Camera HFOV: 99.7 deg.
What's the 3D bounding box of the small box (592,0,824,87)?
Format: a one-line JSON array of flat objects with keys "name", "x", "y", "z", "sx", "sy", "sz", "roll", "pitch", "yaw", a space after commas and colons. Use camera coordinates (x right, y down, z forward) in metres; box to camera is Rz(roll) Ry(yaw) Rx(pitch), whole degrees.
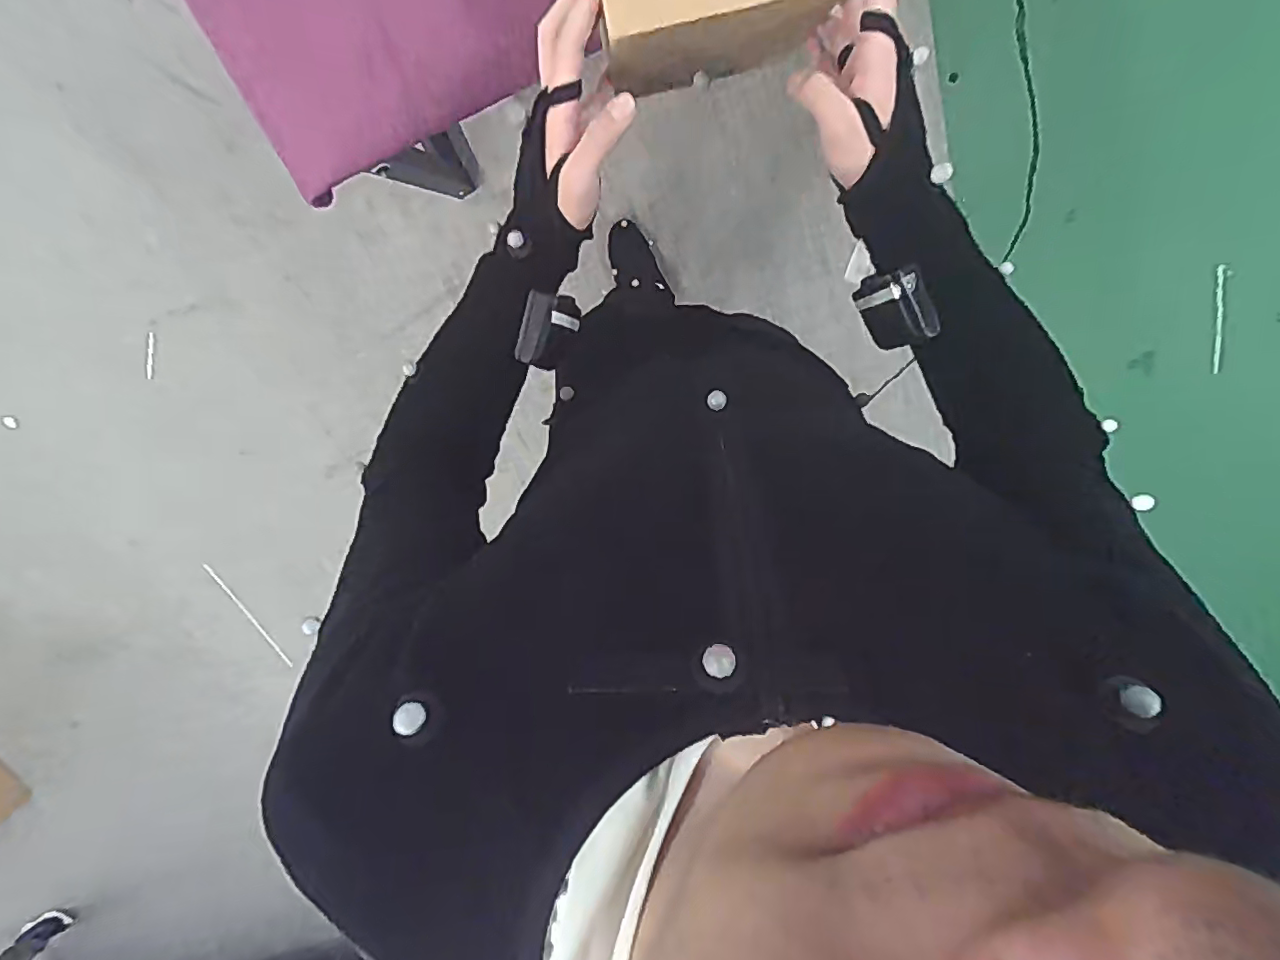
[{"name": "small box", "x": 0.037, "y": -0.420, "z": 0.387, "sx": 0.168, "sy": 0.176, "sz": 0.179, "roll": -11, "pitch": 114, "yaw": 4}]
